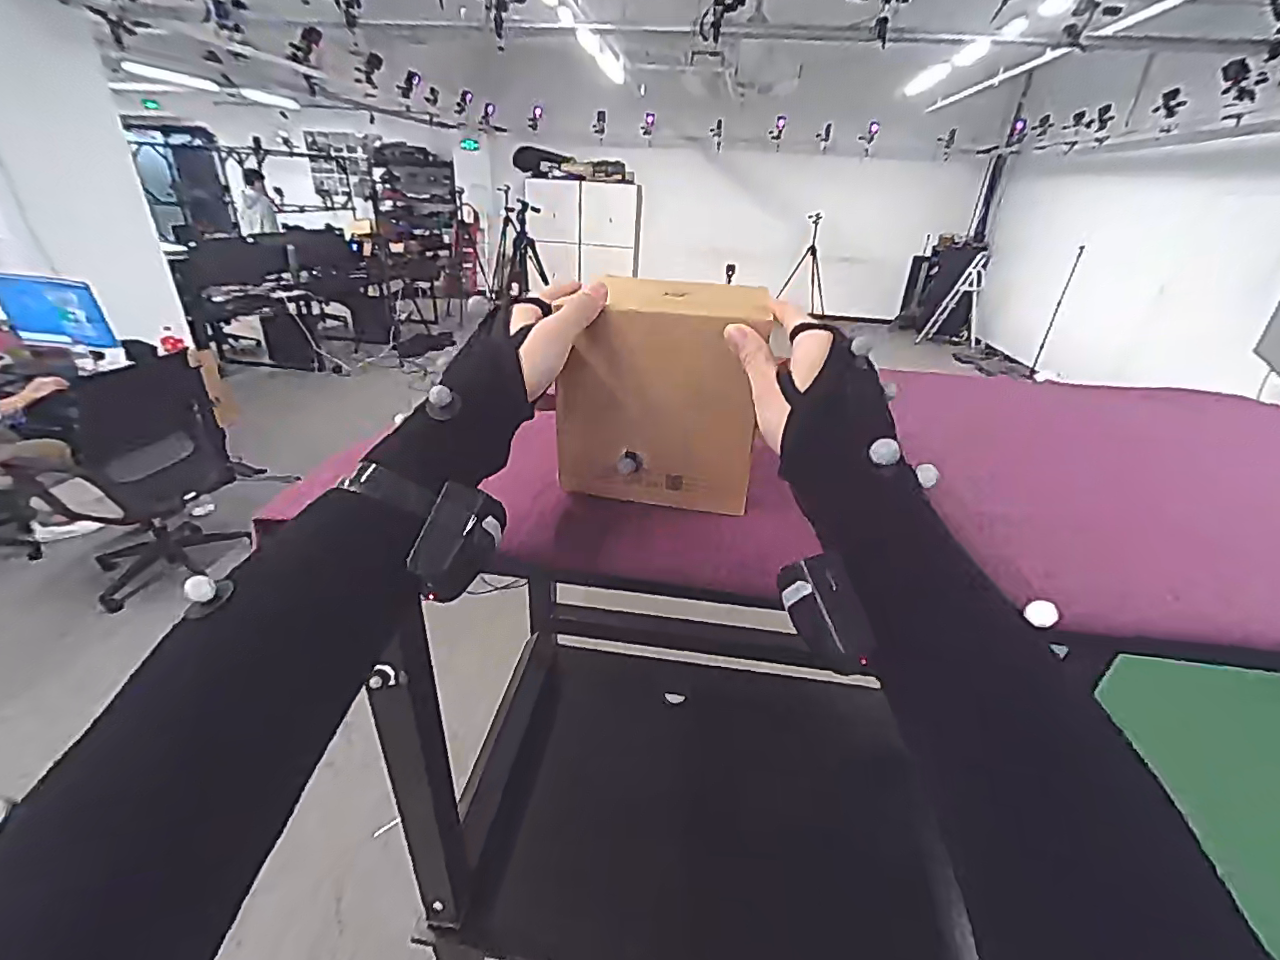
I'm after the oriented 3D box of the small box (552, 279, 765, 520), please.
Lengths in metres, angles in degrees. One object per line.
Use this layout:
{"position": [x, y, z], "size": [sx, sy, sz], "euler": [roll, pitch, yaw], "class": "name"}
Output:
{"position": [0.022, -0.084, 0.508], "size": [0.168, 0.176, 0.179], "euler": [7, 28, 9], "class": "small box"}
